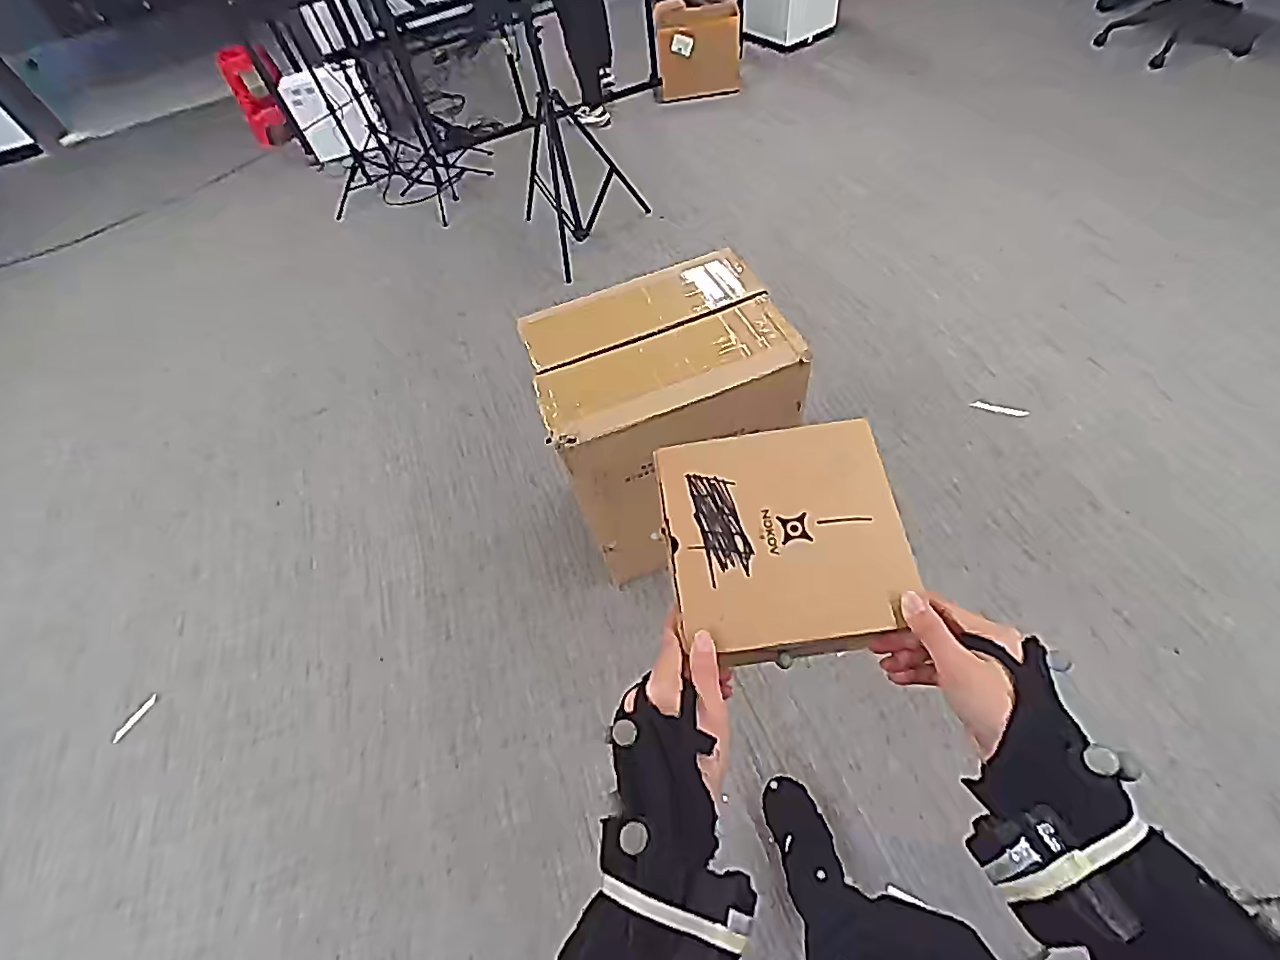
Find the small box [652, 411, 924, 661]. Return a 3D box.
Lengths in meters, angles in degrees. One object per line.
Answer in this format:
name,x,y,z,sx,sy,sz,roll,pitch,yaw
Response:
small box,0.111,0.061,0.483,0.179,0.176,0.168,-8,66,1
